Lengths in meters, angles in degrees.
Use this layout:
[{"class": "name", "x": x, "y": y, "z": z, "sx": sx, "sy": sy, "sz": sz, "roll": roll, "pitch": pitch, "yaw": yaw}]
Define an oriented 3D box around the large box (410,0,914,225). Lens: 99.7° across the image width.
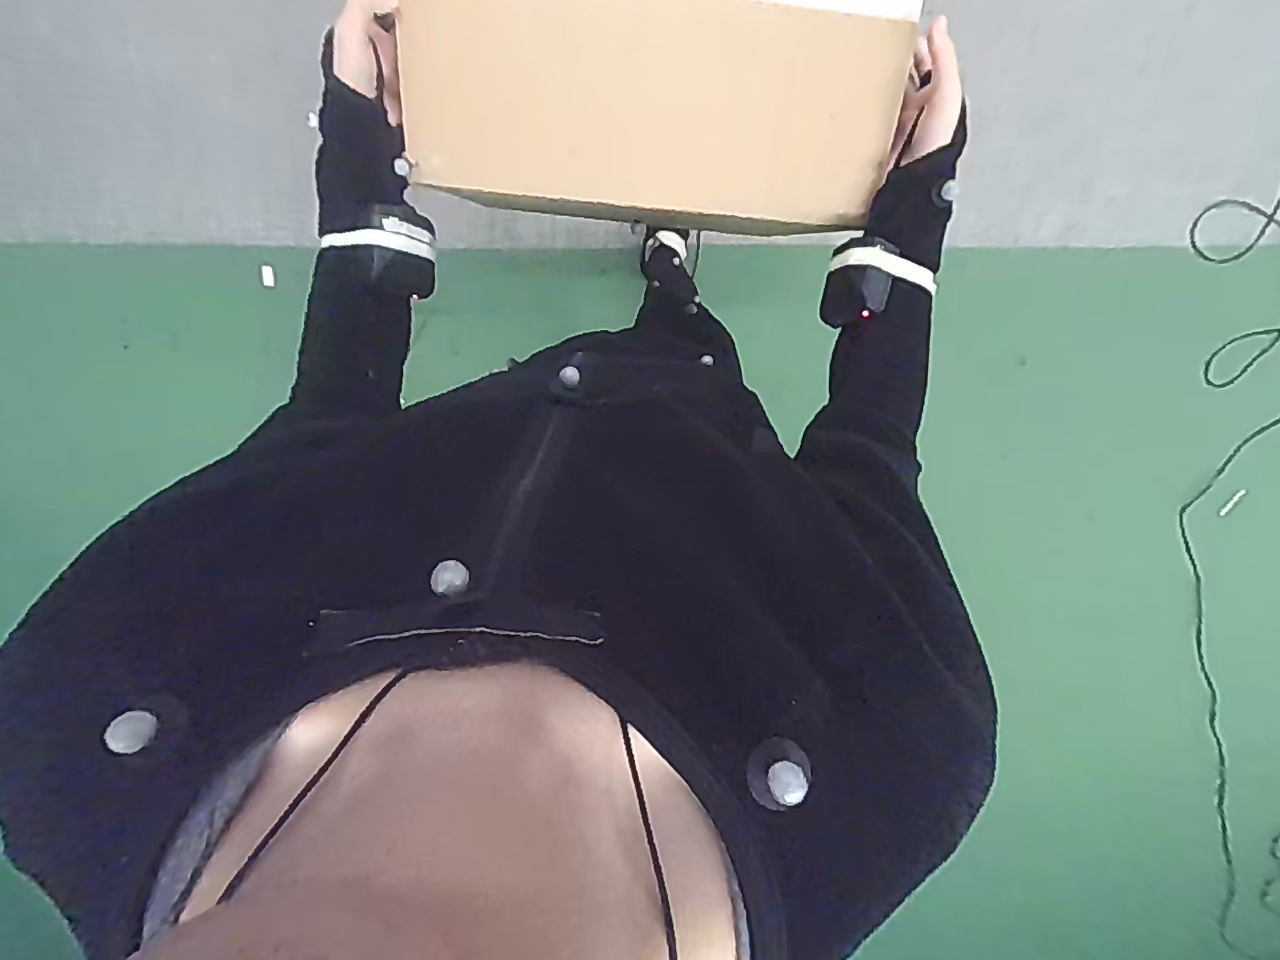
[{"class": "large box", "x": 0.015, "y": -0.445, "z": 0.556, "sx": 0.408, "sy": 0.320, "sz": 0.320, "roll": 3, "pitch": 113, "yaw": -5}]
